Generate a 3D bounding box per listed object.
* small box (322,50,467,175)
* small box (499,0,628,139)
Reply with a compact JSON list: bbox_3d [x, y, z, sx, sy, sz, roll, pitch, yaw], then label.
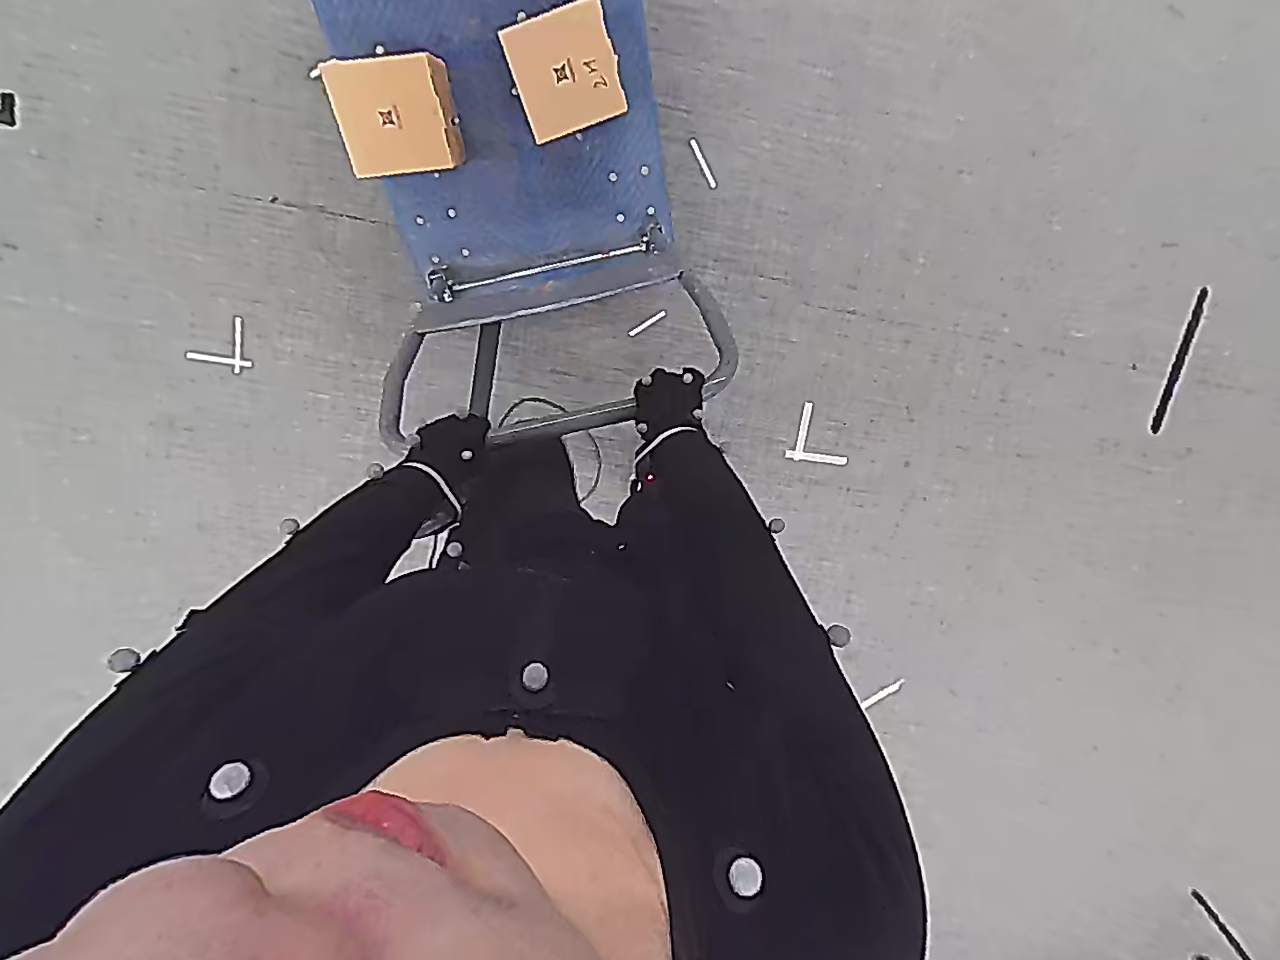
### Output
[{"bbox_3d":[-0.431,-0.660,0.982,0.179,0.176,0.168,-10,124,-4],"label":"small box"},{"bbox_3d":[-0.133,-0.735,0.975,0.179,0.176,0.168,-18,124,4],"label":"small box"}]
